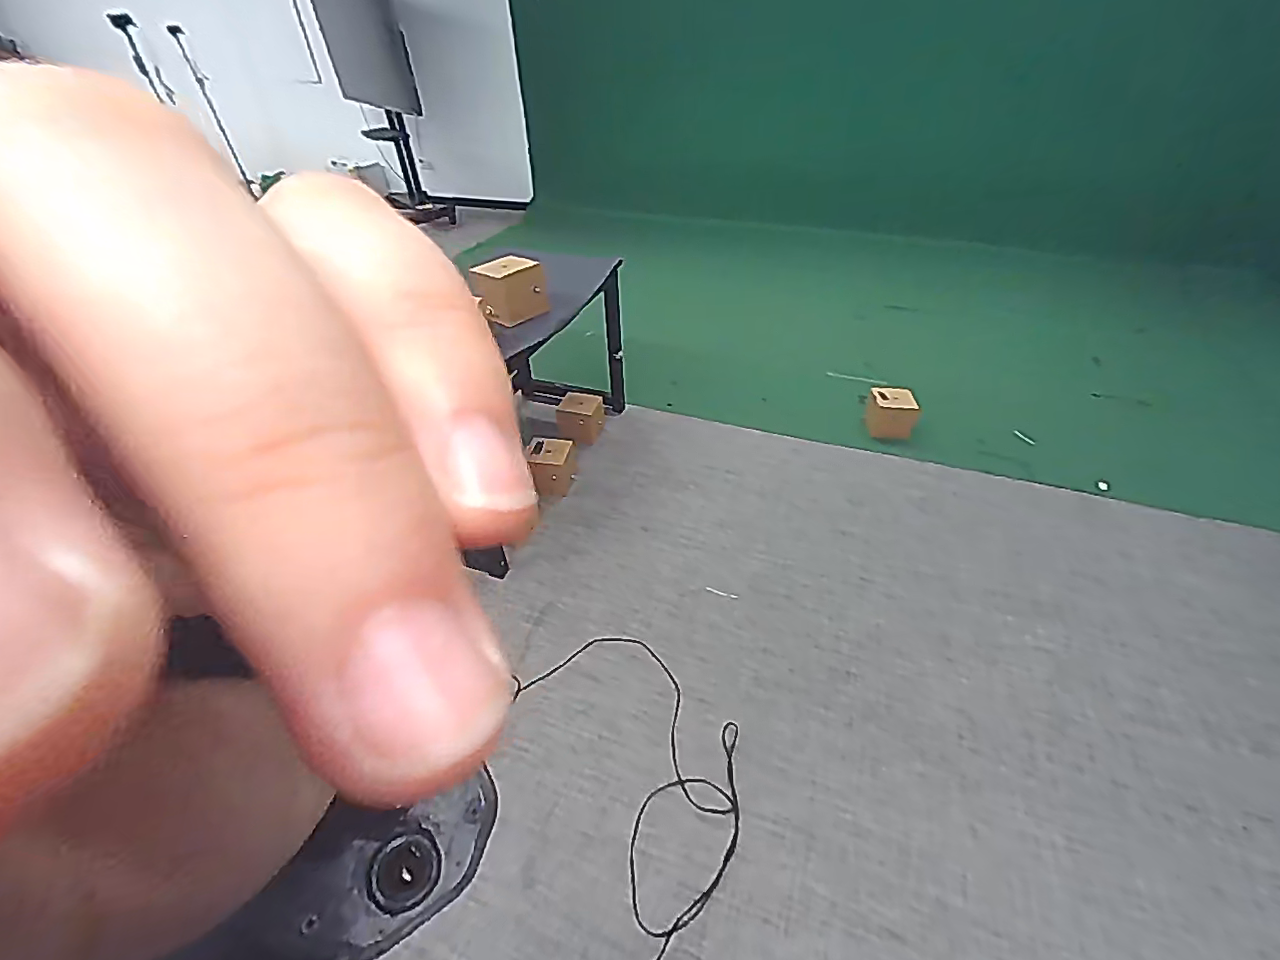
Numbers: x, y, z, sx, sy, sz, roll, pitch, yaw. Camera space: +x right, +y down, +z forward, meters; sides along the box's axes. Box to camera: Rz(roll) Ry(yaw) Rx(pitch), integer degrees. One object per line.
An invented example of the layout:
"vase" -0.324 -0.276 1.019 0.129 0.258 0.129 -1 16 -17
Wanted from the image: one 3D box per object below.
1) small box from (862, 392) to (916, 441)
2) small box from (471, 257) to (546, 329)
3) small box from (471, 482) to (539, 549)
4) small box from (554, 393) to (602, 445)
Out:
"small box" 1.149 -0.294 2.511 0.179 0.176 0.168 3 41 4
"small box" -0.438 -0.635 1.832 0.168 0.176 0.179 26 49 33
"small box" -0.505 0.139 2.052 0.179 0.176 0.168 16 44 19
"small box" -0.283 -0.285 2.535 0.179 0.176 0.168 10 41 13
